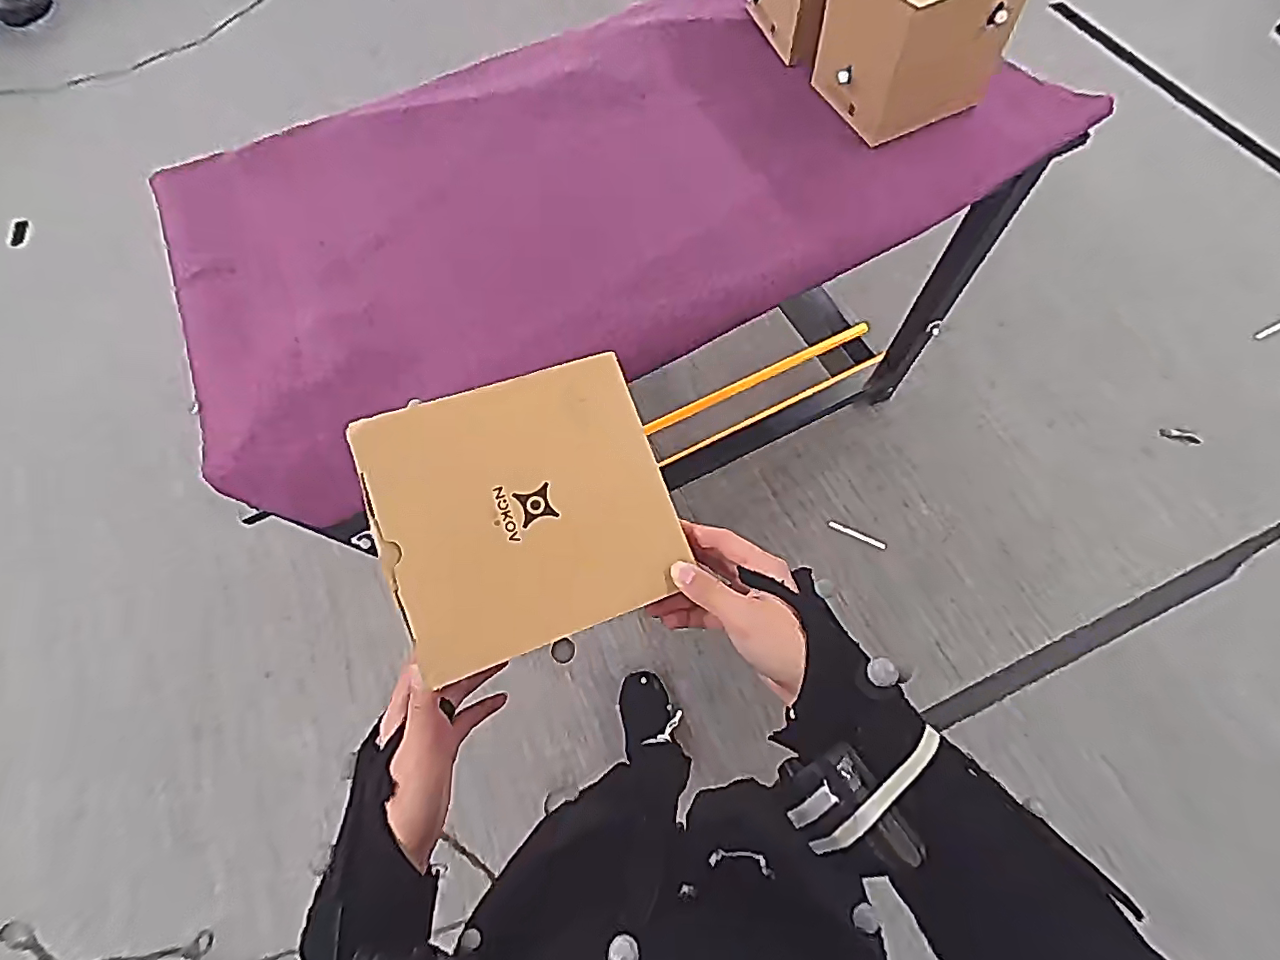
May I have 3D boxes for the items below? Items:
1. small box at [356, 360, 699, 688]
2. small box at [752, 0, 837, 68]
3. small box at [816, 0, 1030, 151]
[{"bbox_3d":[-0.081,0.034,0.414,0.179,0.176,0.168,-19,82,-13],"label":"small box"},{"bbox_3d":[0.277,-0.756,0.797,0.179,0.176,0.168,-20,70,-4],"label":"small box"},{"bbox_3d":[0.364,-0.590,0.726,0.179,0.176,0.168,-24,67,-4],"label":"small box"}]
